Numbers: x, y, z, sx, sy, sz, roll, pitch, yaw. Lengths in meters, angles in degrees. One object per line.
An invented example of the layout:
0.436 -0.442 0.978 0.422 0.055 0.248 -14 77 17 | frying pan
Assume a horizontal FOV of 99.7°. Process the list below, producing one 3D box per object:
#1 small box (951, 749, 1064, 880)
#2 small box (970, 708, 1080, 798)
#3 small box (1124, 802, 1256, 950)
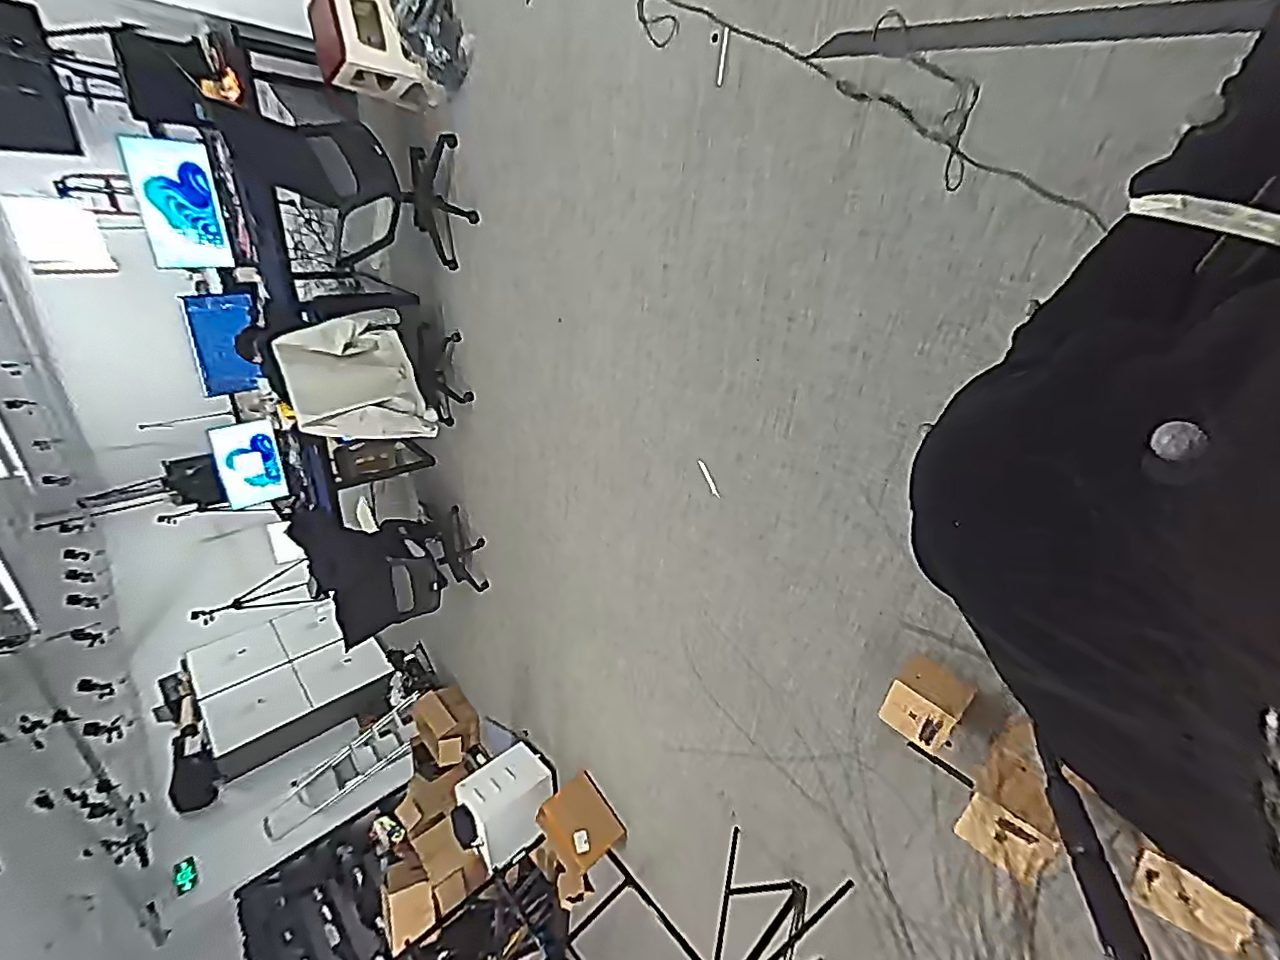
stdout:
0.898 0.803 1.318 0.168 0.176 0.179 29 127 37 | small box
1.013 0.748 1.421 0.168 0.176 0.179 32 128 35 | small box
1.243 0.884 1.228 0.179 0.176 0.168 16 117 43 | small box
